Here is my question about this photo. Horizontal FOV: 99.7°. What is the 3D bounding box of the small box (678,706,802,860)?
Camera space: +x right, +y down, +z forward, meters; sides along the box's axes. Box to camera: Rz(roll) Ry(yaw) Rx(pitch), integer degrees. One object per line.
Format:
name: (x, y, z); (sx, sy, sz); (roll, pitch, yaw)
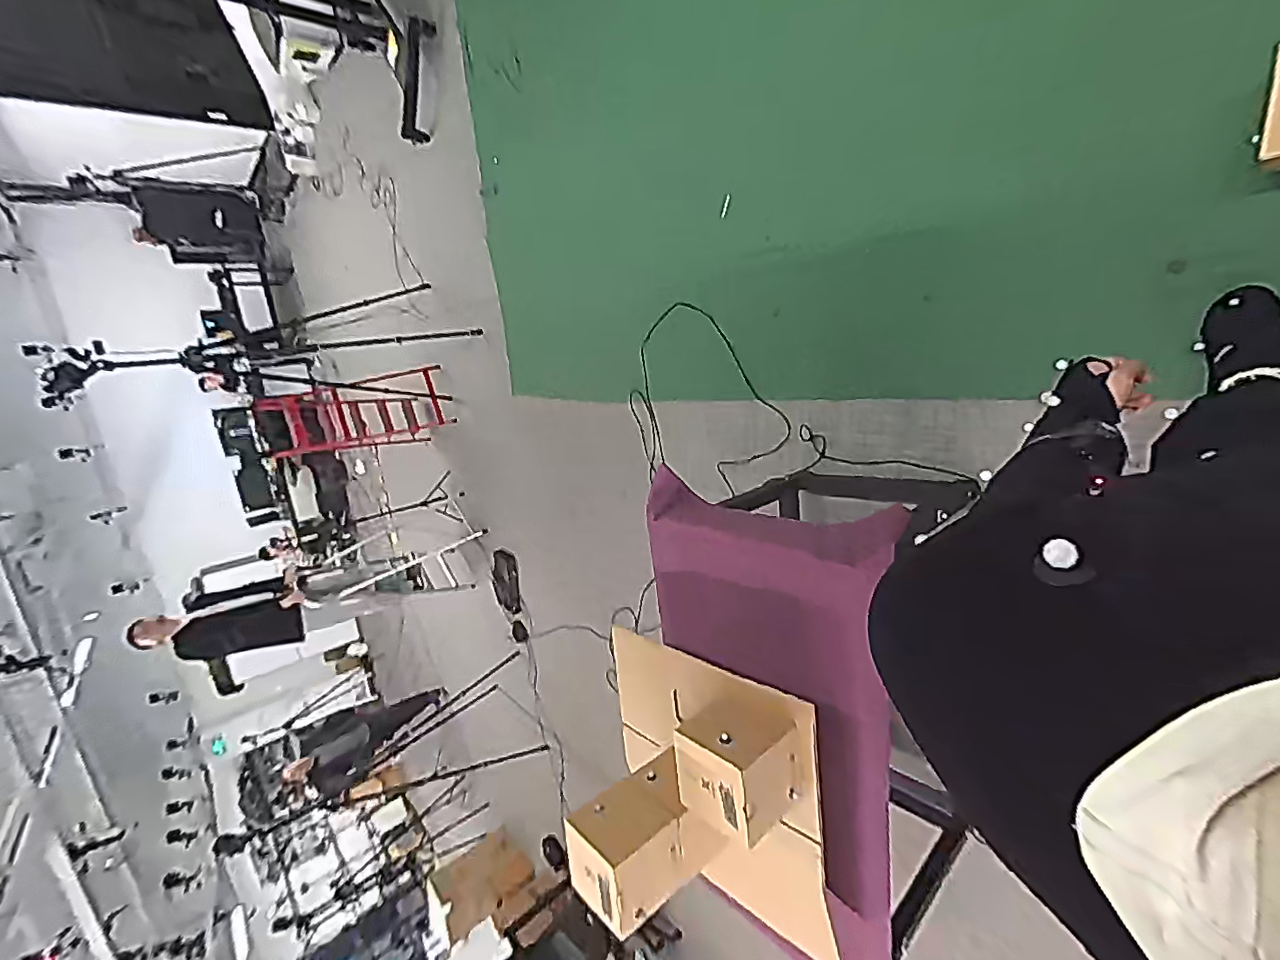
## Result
small box: (0.200, 0.571, 1.051); (0.179, 0.176, 0.168); (5, 104, 50)

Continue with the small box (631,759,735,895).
small box: (0.102, 0.762, 1.219); (0.179, 0.176, 0.168); (6, 104, 48)

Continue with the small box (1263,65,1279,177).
small box: (1.165, -0.625, 0.892); (0.168, 0.176, 0.179); (10, 111, 48)
